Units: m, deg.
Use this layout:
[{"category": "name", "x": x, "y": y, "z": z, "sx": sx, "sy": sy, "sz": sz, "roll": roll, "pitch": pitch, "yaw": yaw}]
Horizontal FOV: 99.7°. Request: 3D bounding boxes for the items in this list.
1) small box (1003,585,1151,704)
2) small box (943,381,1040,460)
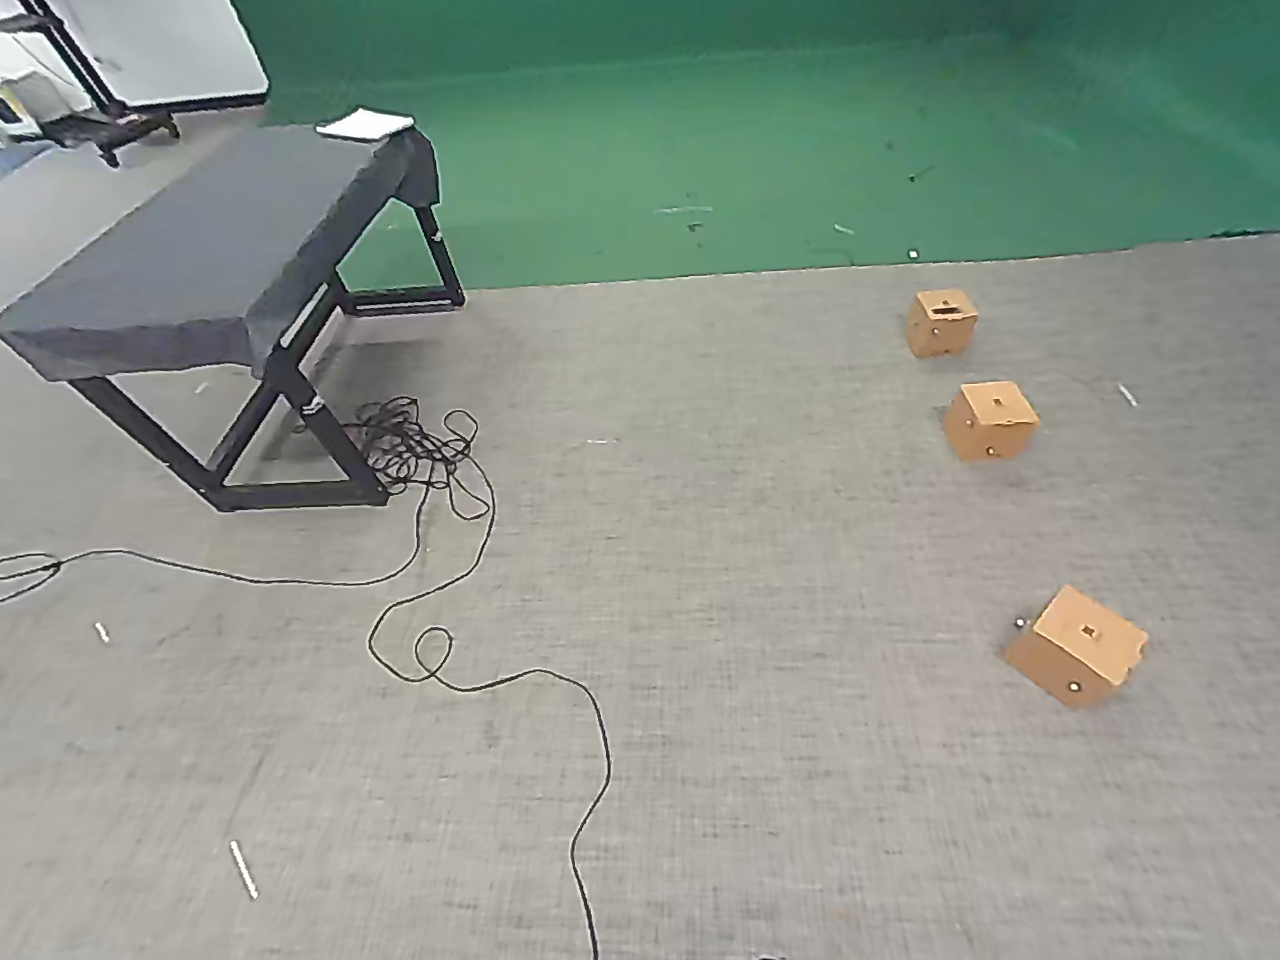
[{"category": "small box", "x": 0.978, "y": 0.378, "z": 1.223, "sx": 0.168, "sy": 0.176, "sz": 0.179, "roll": -36, "pitch": 56, "yaw": -23}, {"category": "small box", "x": 1.068, "y": -0.182, "z": 1.661, "sx": 0.168, "sy": 0.176, "sz": 0.179, "roll": -4, "pitch": 52, "yaw": 3}]
